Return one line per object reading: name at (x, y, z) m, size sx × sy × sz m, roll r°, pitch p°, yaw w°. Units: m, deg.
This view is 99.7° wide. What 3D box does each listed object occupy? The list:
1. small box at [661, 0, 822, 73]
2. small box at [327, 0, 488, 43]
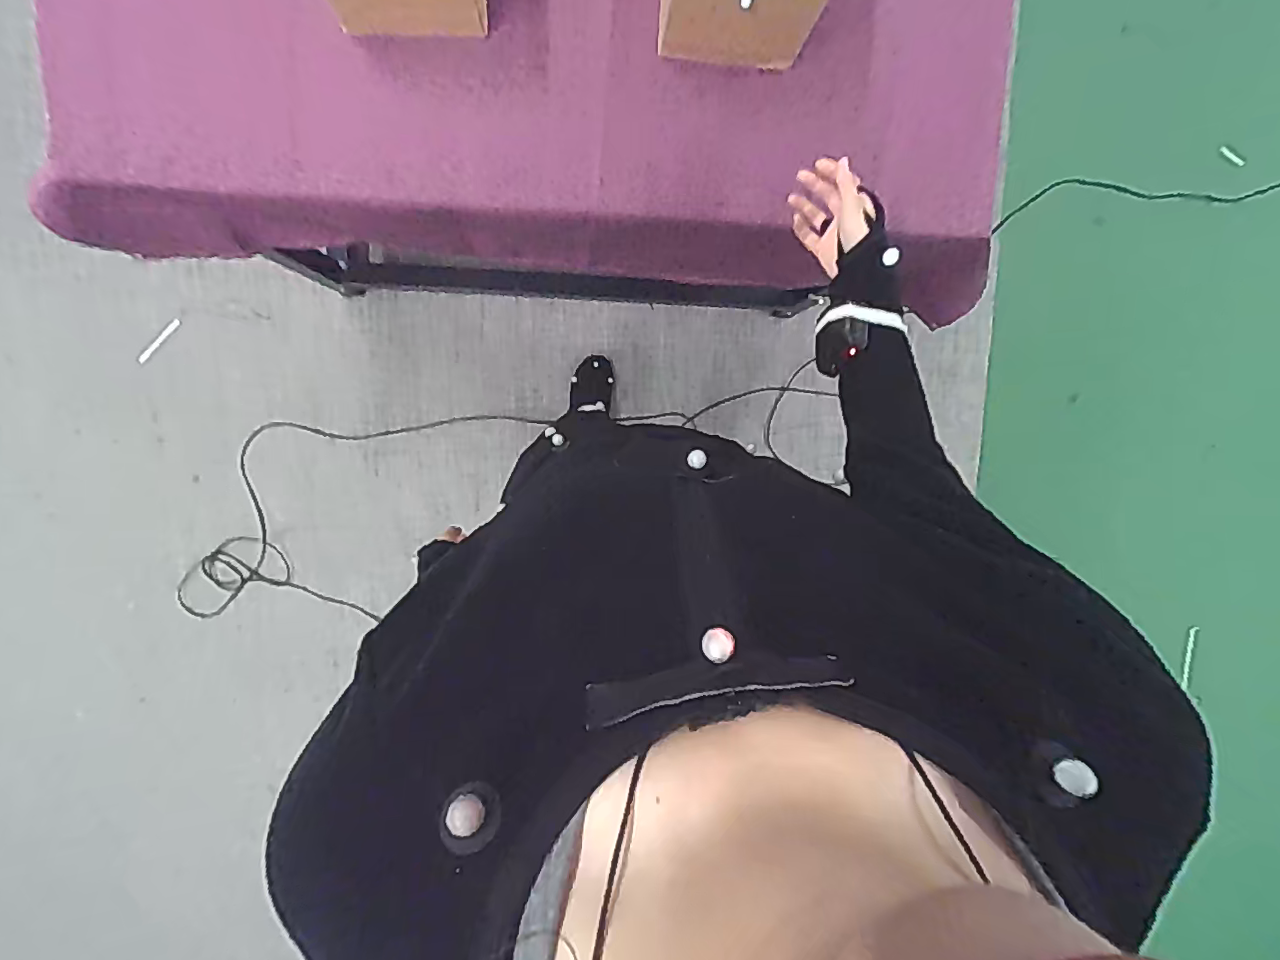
small box at (0.122, -0.610, 0.621) m, size 0.179 × 0.176 × 0.168 m, roll 3°, pitch 97°, yaw -6°
small box at (-0.273, -0.618, 0.587) m, size 0.179 × 0.176 × 0.168 m, roll -3°, pitch 97°, yaw -6°
